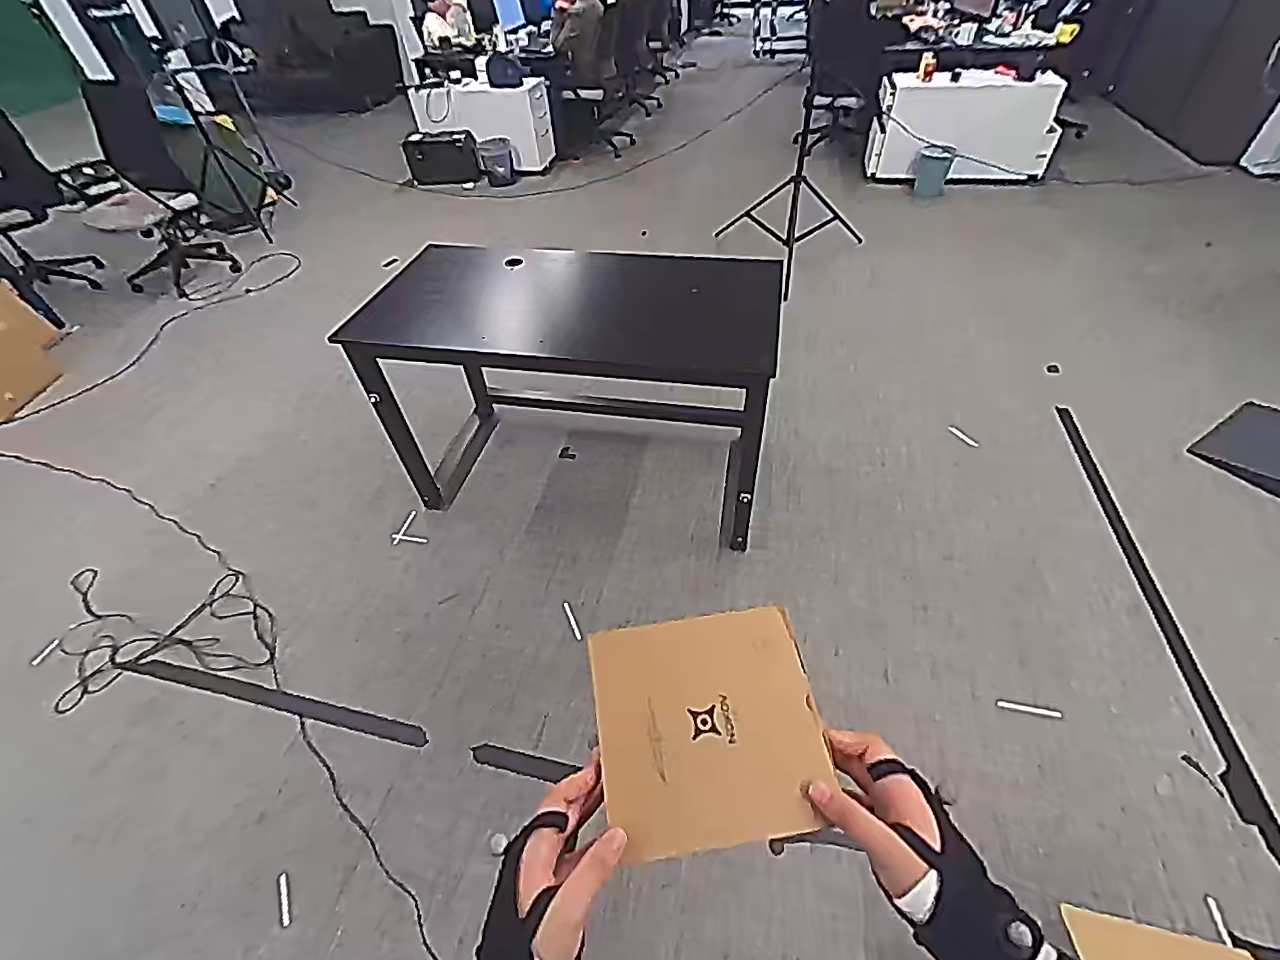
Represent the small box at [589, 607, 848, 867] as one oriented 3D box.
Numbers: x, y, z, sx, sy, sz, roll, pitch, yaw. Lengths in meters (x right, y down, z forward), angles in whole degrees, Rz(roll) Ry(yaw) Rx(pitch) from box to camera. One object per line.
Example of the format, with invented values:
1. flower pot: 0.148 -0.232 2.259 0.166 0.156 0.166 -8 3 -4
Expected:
1. small box: 0.055 0.232 0.491 0.179 0.176 0.168 -9 57 -4
